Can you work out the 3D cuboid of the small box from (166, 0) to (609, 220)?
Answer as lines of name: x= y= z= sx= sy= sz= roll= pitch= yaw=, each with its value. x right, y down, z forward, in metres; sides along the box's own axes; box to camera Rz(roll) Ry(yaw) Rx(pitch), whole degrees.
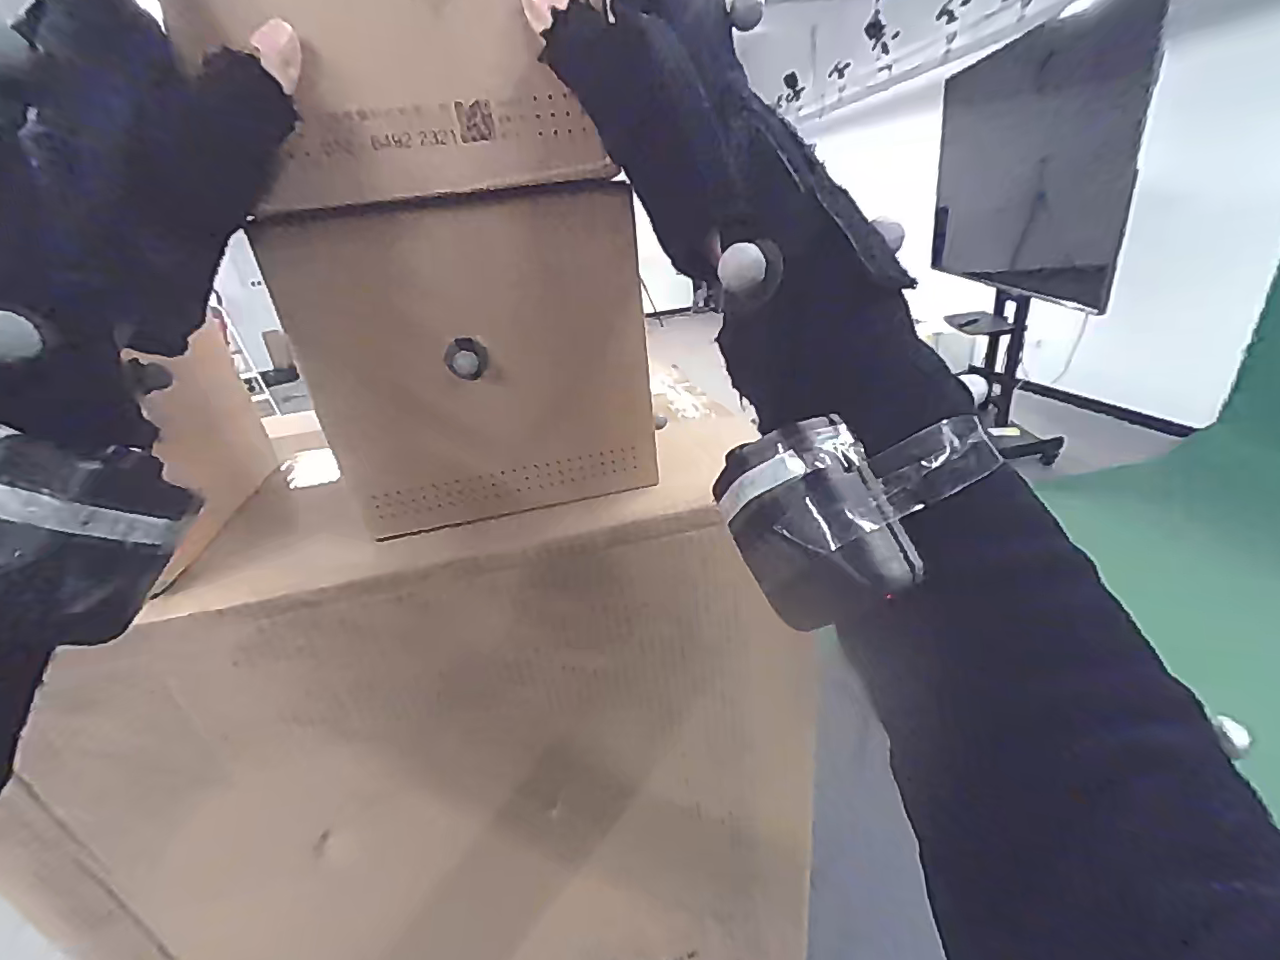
small box: x=-0.113 y=-0.229 z=0.279 sx=0.168 sy=0.176 sz=0.179 roll=-8 pitch=25 yaw=-8

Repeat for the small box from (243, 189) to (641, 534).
small box: x=-0.098 y=-0.086 z=0.355 sx=0.179 sy=0.176 sz=0.168 roll=-10 pitch=27 yaw=-7

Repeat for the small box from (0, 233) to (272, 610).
small box: x=-0.355 y=-0.036 z=0.312 sx=0.168 sy=0.176 sz=0.179 roll=-11 pitch=28 yaw=-8
